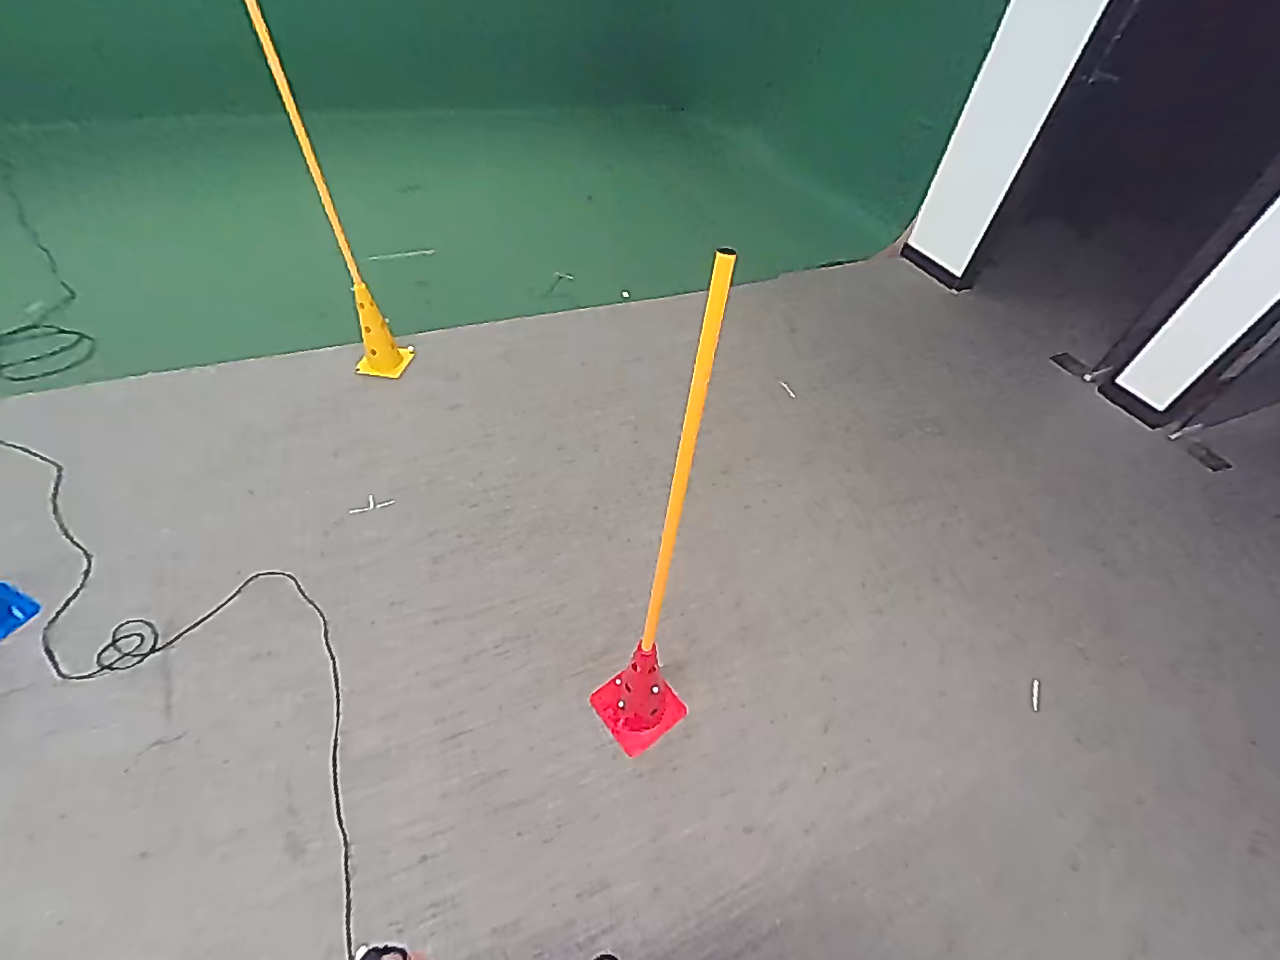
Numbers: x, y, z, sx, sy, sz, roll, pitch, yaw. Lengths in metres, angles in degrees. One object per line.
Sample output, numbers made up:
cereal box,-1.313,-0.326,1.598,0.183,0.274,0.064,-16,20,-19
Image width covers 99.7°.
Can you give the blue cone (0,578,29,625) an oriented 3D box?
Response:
blue cone,-1.800,0.260,1.349,0.192,0.380,0.193,21,52,12
